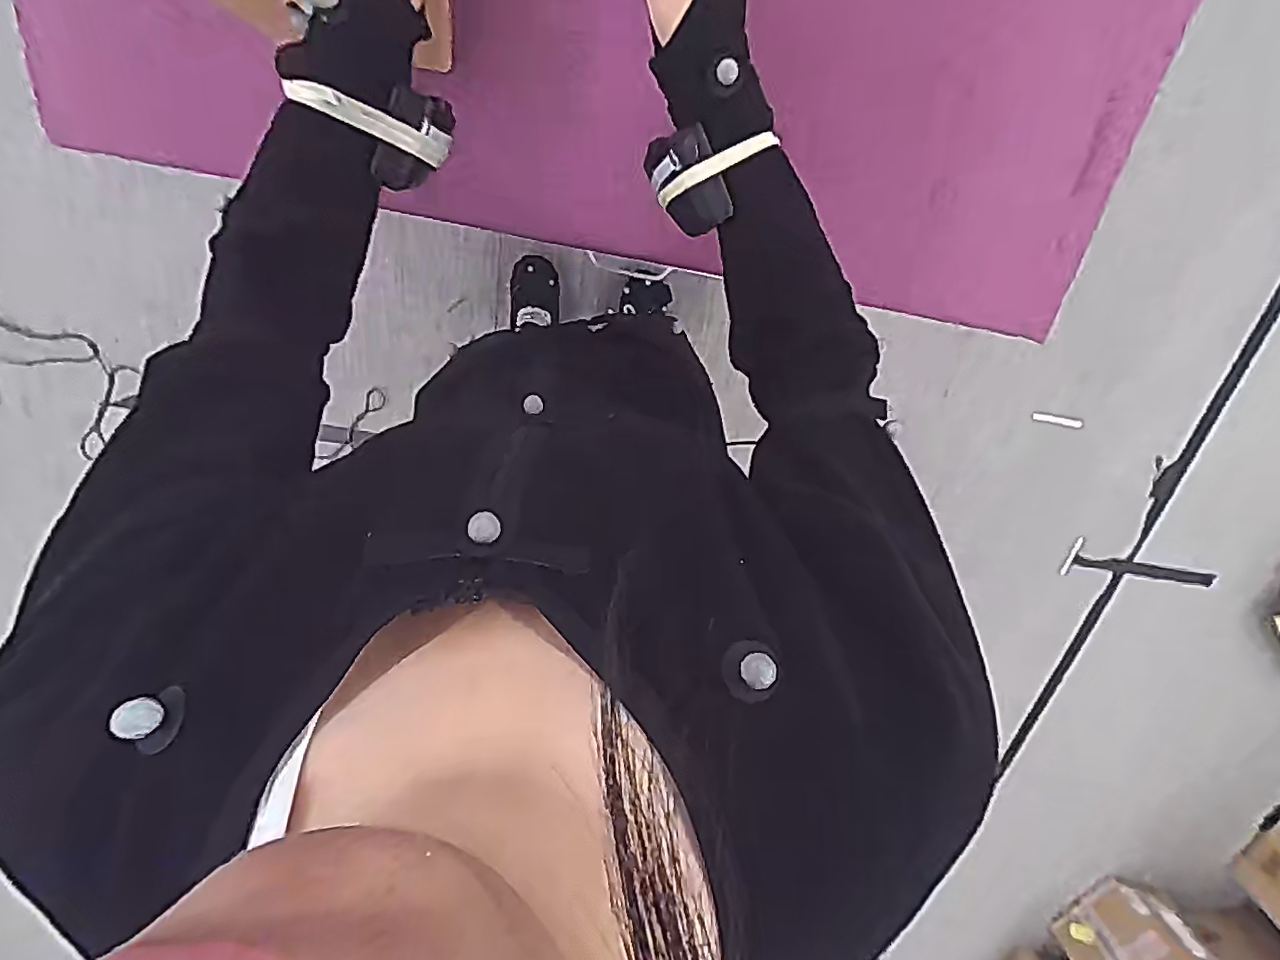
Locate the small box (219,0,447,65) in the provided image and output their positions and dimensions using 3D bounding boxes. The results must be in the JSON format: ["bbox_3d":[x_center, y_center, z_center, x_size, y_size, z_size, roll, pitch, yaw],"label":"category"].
[{"bbox_3d":[-0.273,-0.492,0.470,0.179,0.176,0.168,6,112,-5],"label":"small box"}]
